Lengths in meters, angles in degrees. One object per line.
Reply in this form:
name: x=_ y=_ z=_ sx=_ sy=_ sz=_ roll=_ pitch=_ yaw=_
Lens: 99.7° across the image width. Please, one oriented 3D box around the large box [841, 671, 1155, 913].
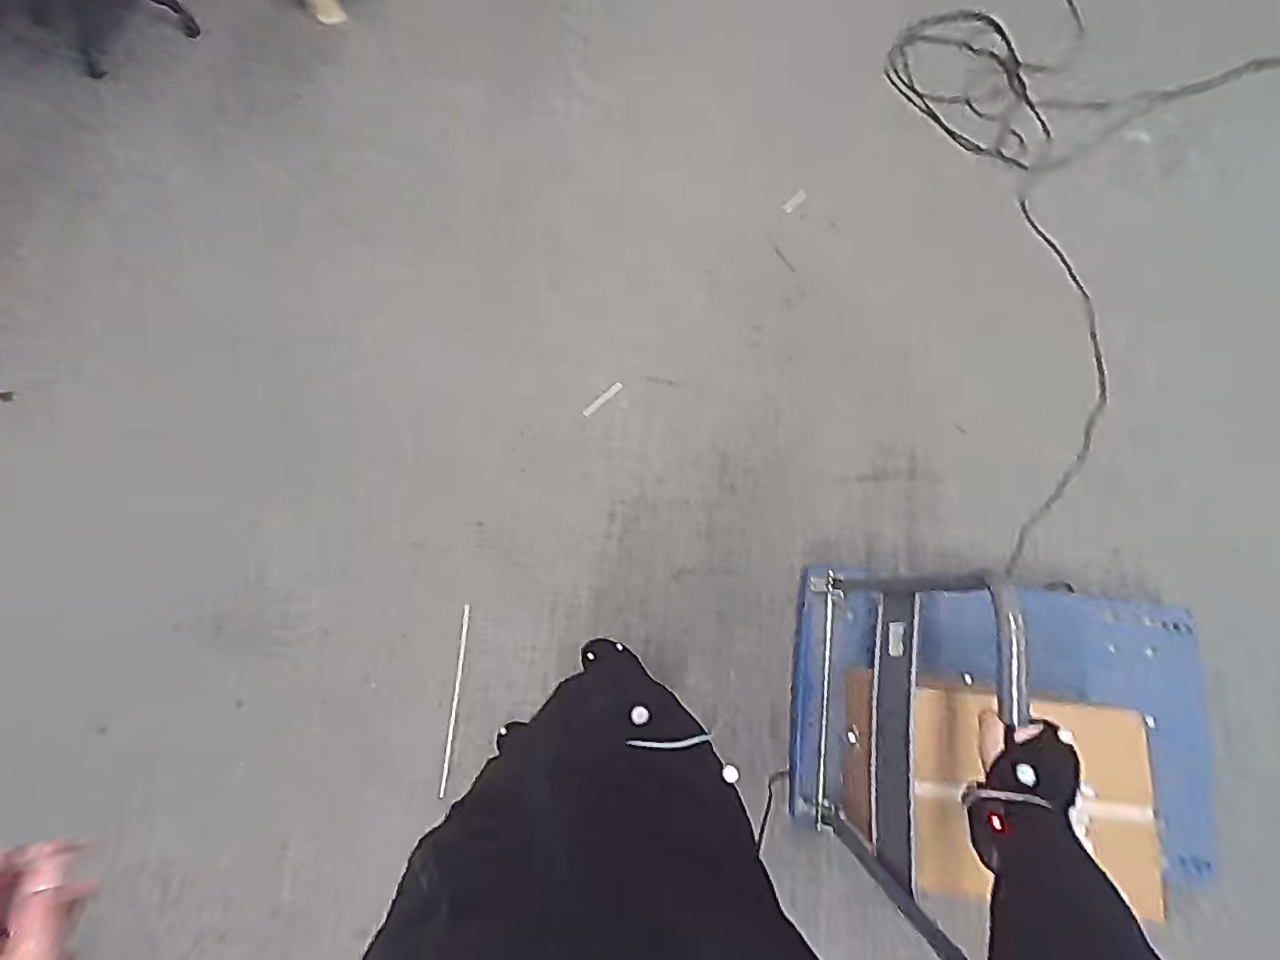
large box: x=0.639 y=0.561 z=1.046 sx=0.408 sy=0.320 sz=0.320 roll=5 pitch=78 yaw=3
